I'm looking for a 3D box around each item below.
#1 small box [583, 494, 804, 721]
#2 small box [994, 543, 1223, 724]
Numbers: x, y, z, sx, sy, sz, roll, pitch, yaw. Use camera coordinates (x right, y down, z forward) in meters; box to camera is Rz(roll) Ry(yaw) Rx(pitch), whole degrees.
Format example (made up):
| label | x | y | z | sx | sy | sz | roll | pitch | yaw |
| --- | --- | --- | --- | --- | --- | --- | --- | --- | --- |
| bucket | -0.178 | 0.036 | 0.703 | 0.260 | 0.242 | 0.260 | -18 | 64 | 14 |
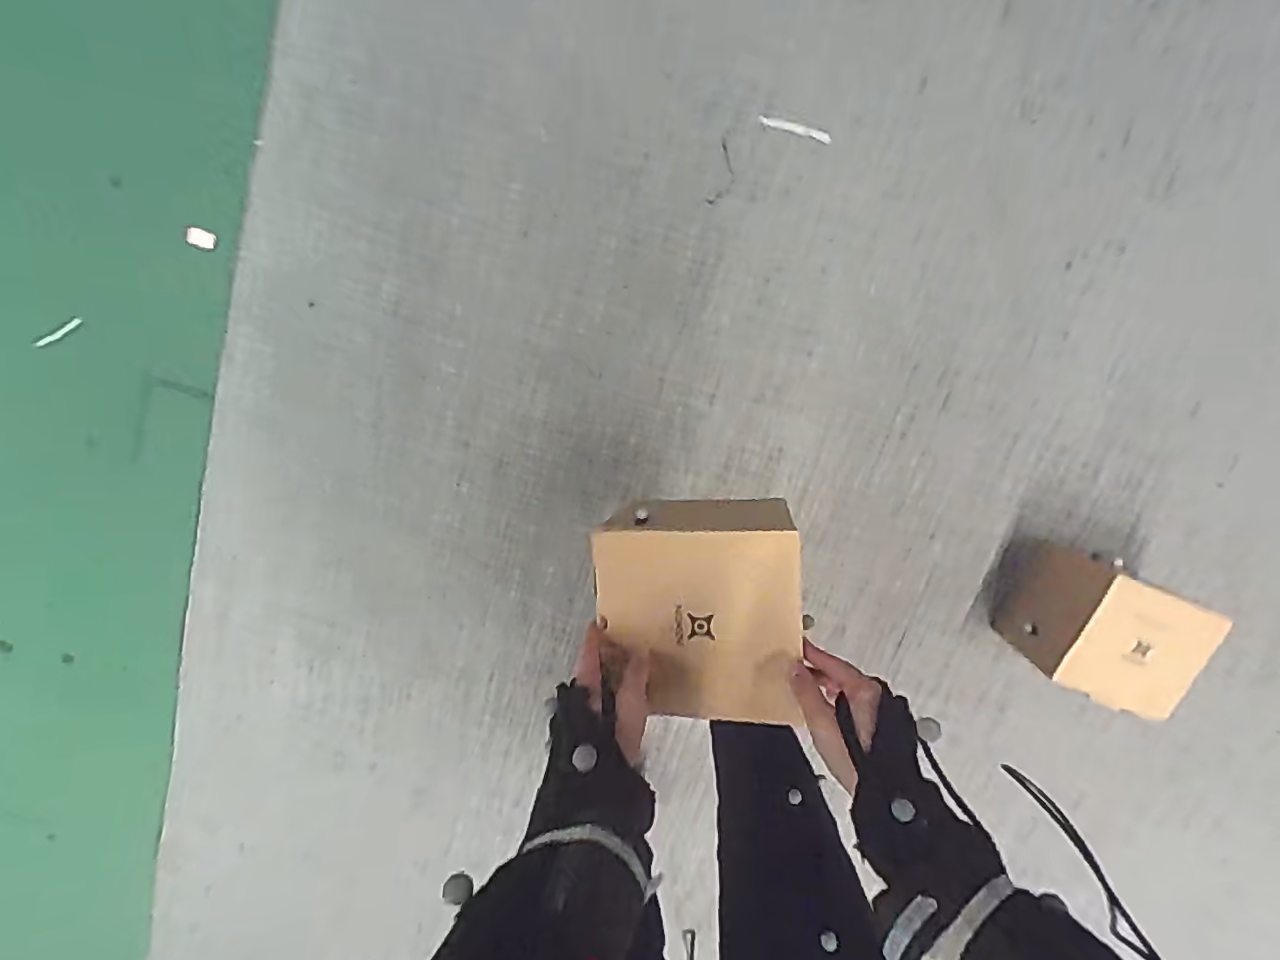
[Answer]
| label | x | y | z | sx | sy | sz | roll | pitch | yaw |
| --- | --- | --- | --- | --- | --- | --- | --- | --- | --- |
| small box | 0.059 | 0.108 | 0.522 | 0.179 | 0.176 | 0.168 | -3 | 96 | 14 |
| small box | 0.683 | 0.221 | 0.820 | 0.168 | 0.176 | 0.179 | 23 | 101 | 1 |
